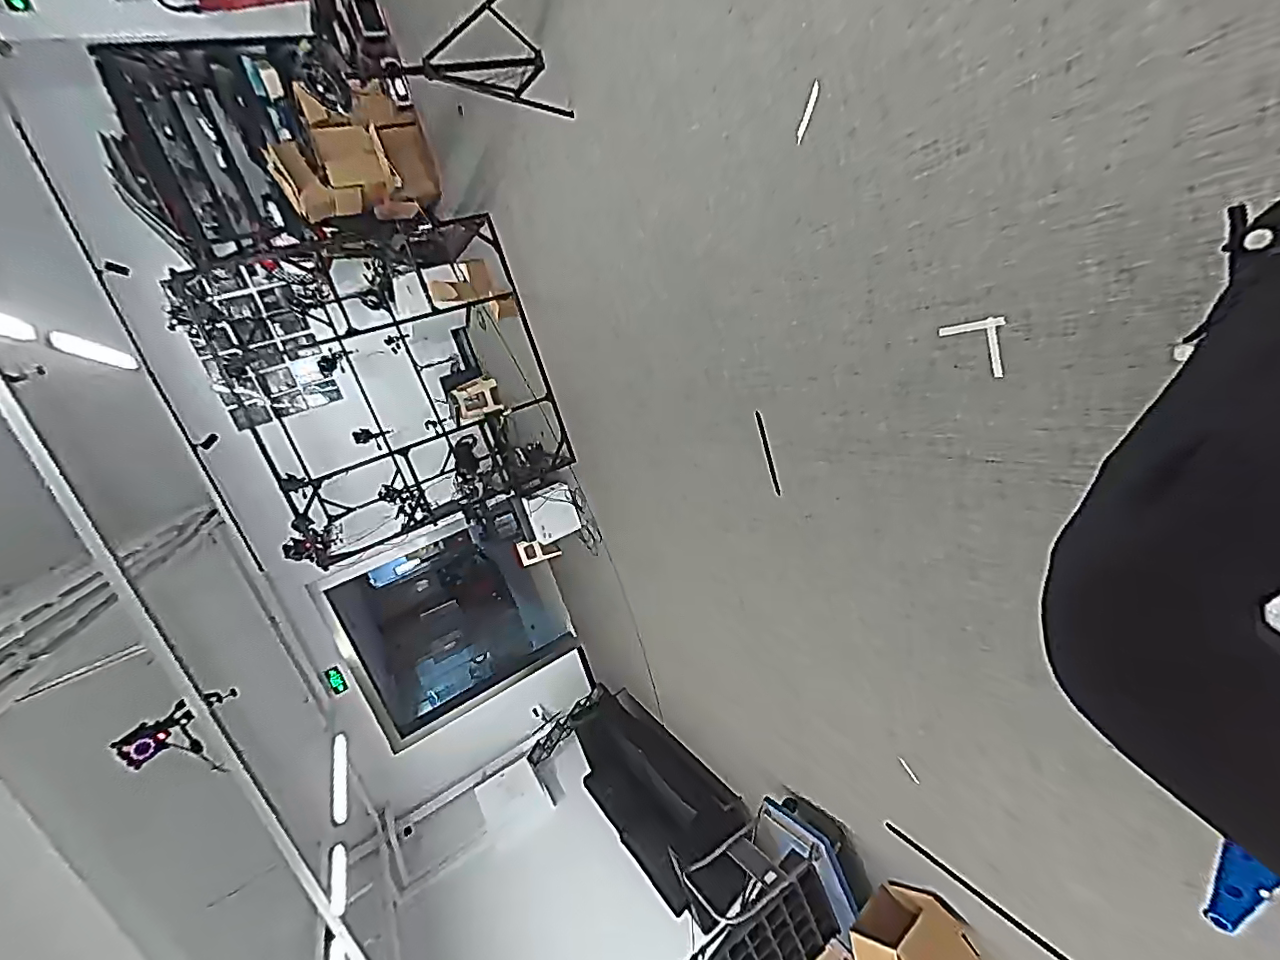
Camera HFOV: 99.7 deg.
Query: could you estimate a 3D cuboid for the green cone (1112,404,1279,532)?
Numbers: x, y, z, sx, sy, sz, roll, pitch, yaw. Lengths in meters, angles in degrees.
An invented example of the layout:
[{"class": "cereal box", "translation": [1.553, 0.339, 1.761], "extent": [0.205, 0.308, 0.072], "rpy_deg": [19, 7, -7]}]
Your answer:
[{"class": "green cone", "translation": [1.037, 0.005, 1.049], "extent": [0.202, 0.368, 0.200], "rpy_deg": [16, 127, 62]}]
